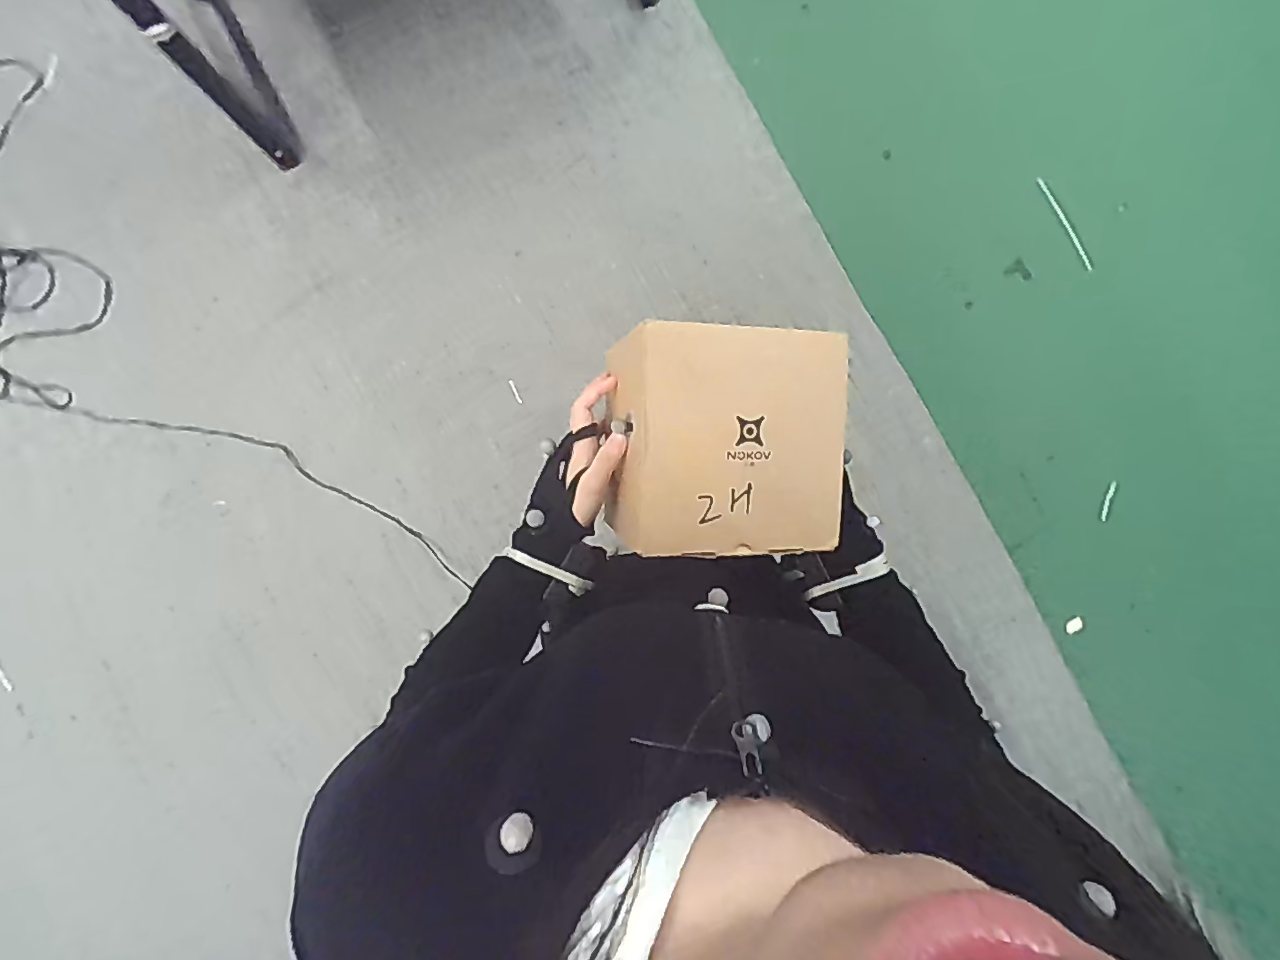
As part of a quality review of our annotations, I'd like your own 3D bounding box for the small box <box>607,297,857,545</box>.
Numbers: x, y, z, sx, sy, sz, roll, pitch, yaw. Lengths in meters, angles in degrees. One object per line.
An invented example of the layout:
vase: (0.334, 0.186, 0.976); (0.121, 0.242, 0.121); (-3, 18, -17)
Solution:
small box: (0.065, -0.044, 0.472); (0.168, 0.176, 0.179); (-1, 94, -13)
